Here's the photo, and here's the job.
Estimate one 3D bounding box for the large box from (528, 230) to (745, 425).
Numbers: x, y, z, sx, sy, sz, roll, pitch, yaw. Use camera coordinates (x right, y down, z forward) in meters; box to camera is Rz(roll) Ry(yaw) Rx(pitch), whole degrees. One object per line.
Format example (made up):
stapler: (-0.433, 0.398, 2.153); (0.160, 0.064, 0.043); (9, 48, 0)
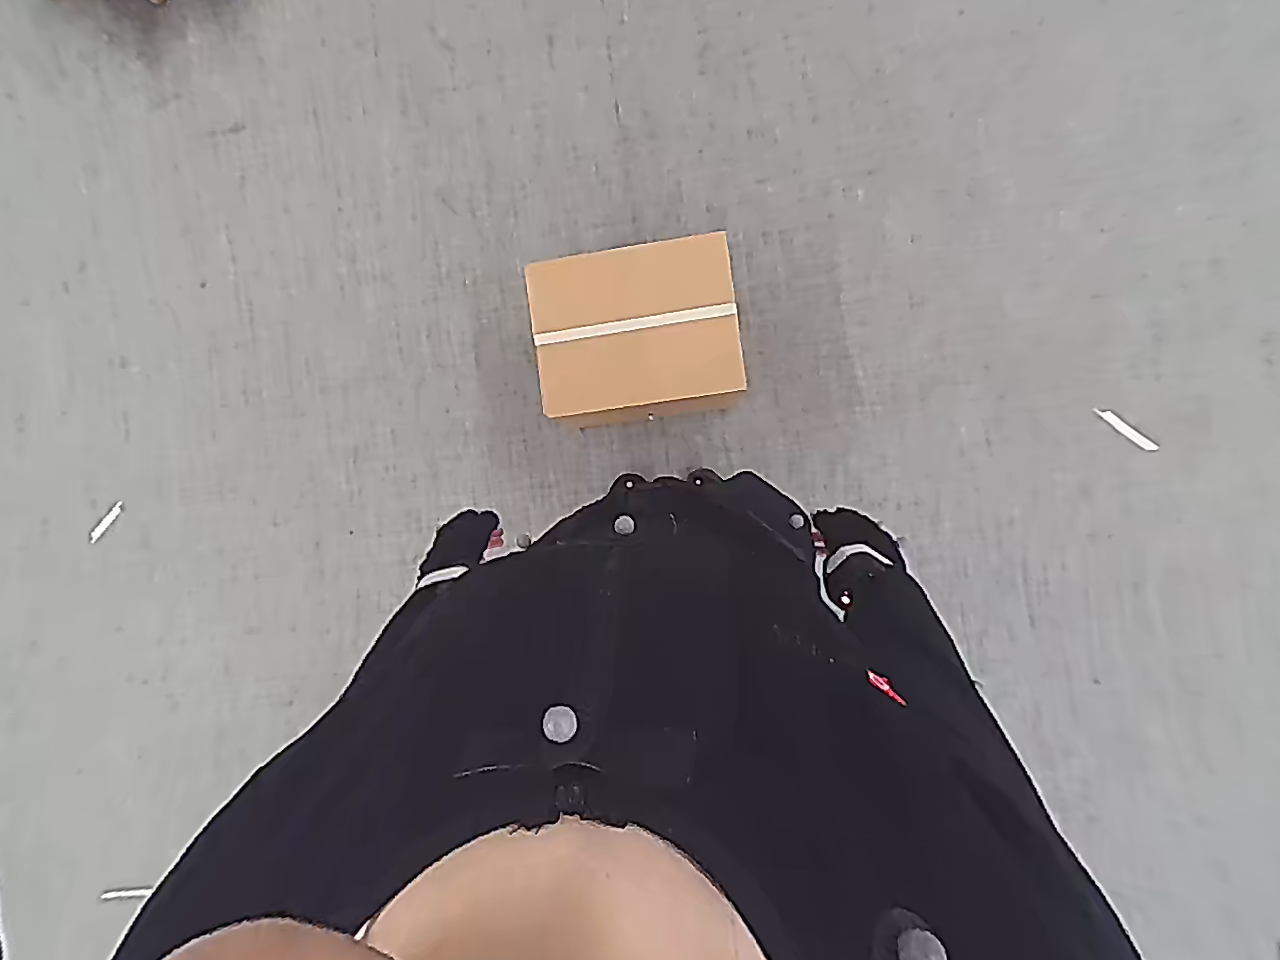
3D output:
large box: (-0.001, -0.314, 1.219); (0.408, 0.320, 0.320); (-8, 92, 4)
